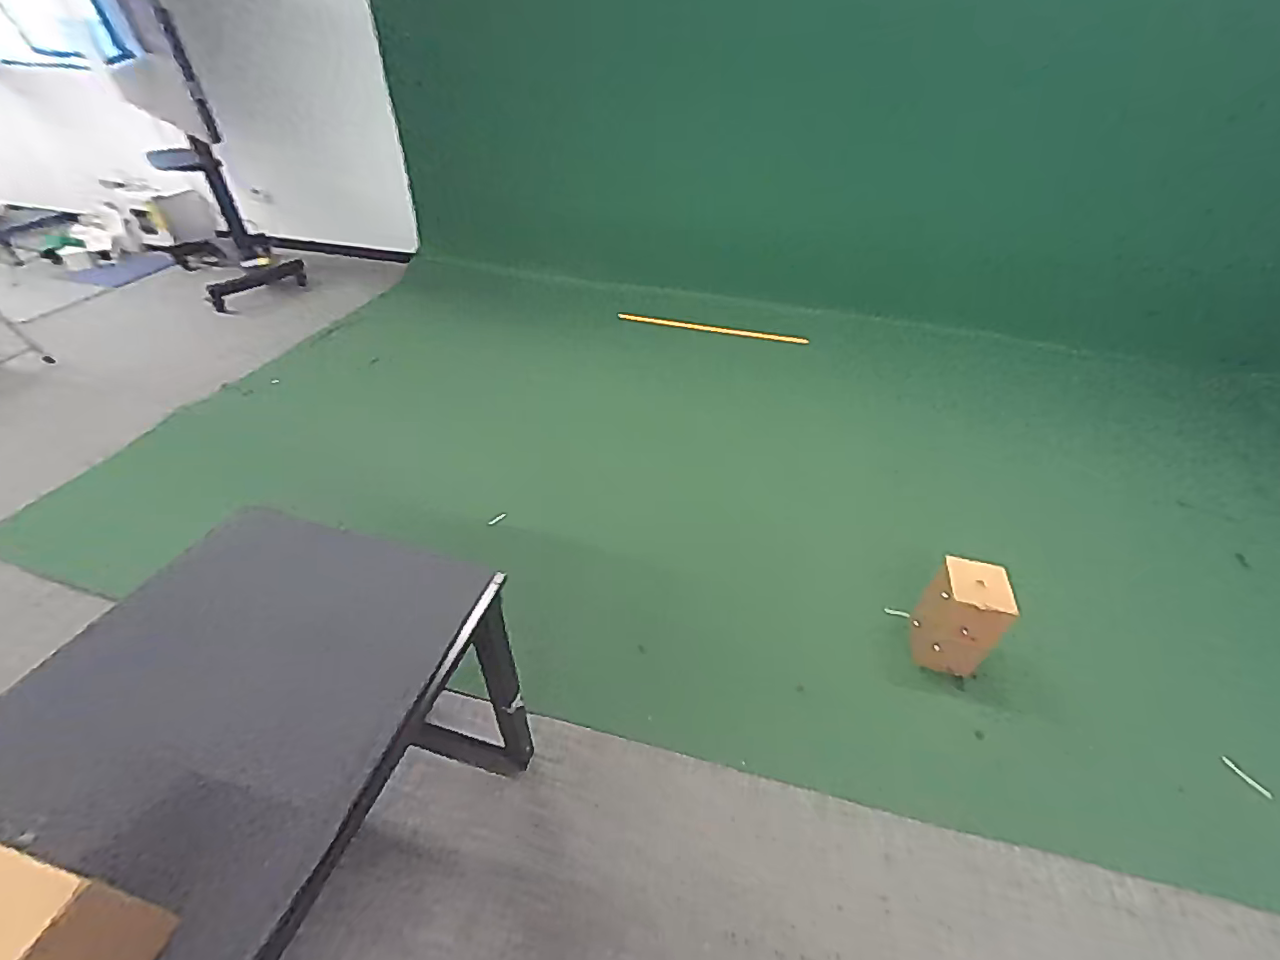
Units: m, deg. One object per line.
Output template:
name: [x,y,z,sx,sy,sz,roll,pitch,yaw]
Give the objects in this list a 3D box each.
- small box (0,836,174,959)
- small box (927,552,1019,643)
small box: [-0.618,0.464,0.512,0.179,0.176,0.168,10,42,10]
small box: [0.962,0.343,1.582,0.168,0.176,0.179,11,41,10]
